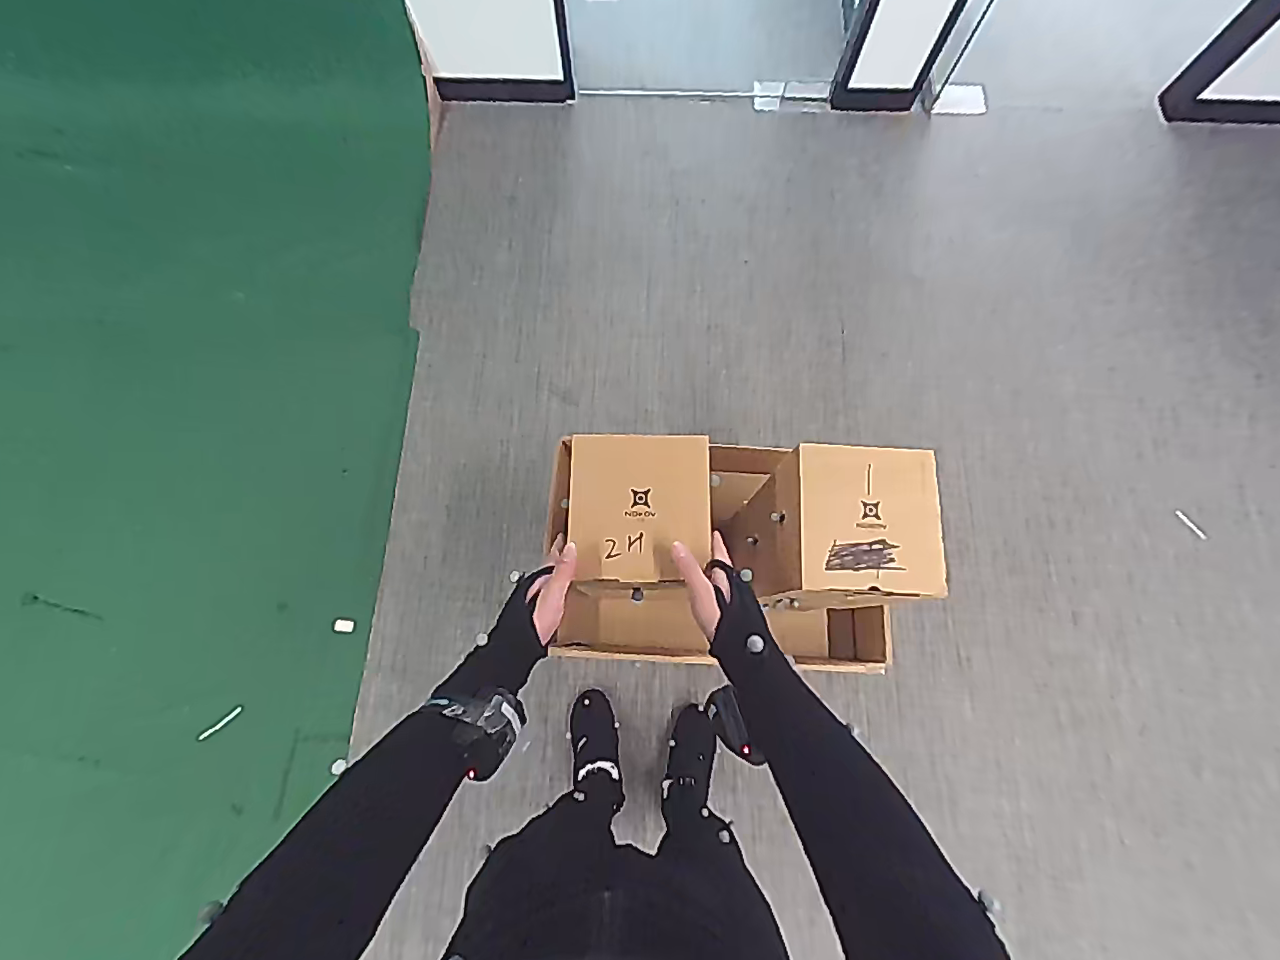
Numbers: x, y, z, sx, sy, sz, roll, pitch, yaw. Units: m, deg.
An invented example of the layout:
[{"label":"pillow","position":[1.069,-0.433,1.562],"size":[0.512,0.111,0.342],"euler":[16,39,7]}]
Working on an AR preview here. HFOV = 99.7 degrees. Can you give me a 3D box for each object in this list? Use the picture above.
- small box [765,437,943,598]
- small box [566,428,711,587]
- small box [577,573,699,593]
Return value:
[{"label":"small box","position":[0.263,0.058,0.702],"size":[0.168,0.176,0.179],"euler":[4,74,0]},{"label":"small box","position":[-0.001,0.044,0.704],"size":[0.168,0.176,0.179],"euler":[1,76,1]},{"label":"small box","position":[-0.003,0.091,0.862],"size":[0.179,0.176,0.168],"euler":[1,75,0]}]
